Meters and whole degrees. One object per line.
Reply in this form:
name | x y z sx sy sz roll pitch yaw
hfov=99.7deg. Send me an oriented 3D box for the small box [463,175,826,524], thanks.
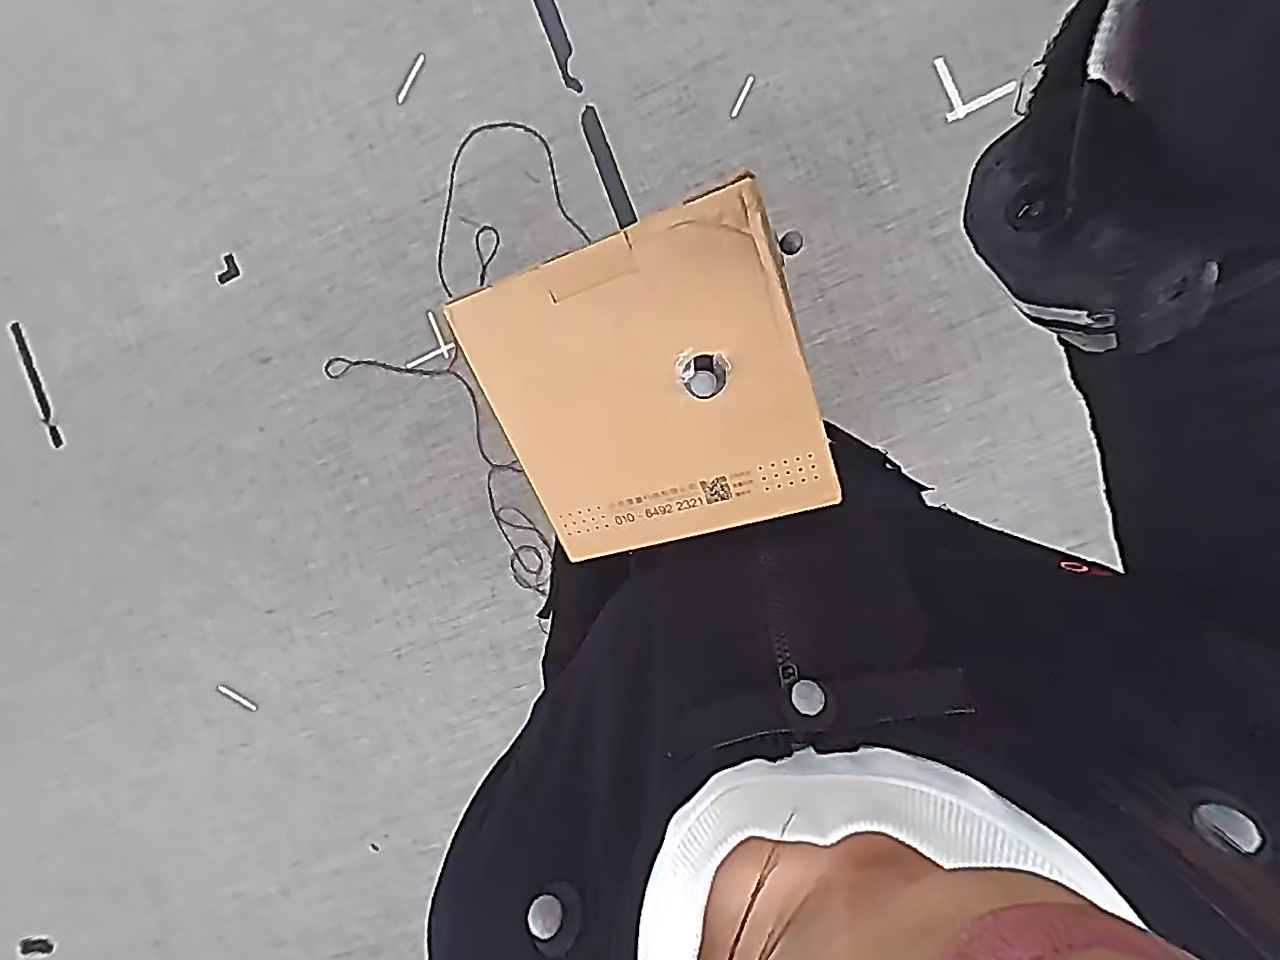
small box | 0.021 -0.084 0.370 0.168 0.179 0.176 -14 114 20
